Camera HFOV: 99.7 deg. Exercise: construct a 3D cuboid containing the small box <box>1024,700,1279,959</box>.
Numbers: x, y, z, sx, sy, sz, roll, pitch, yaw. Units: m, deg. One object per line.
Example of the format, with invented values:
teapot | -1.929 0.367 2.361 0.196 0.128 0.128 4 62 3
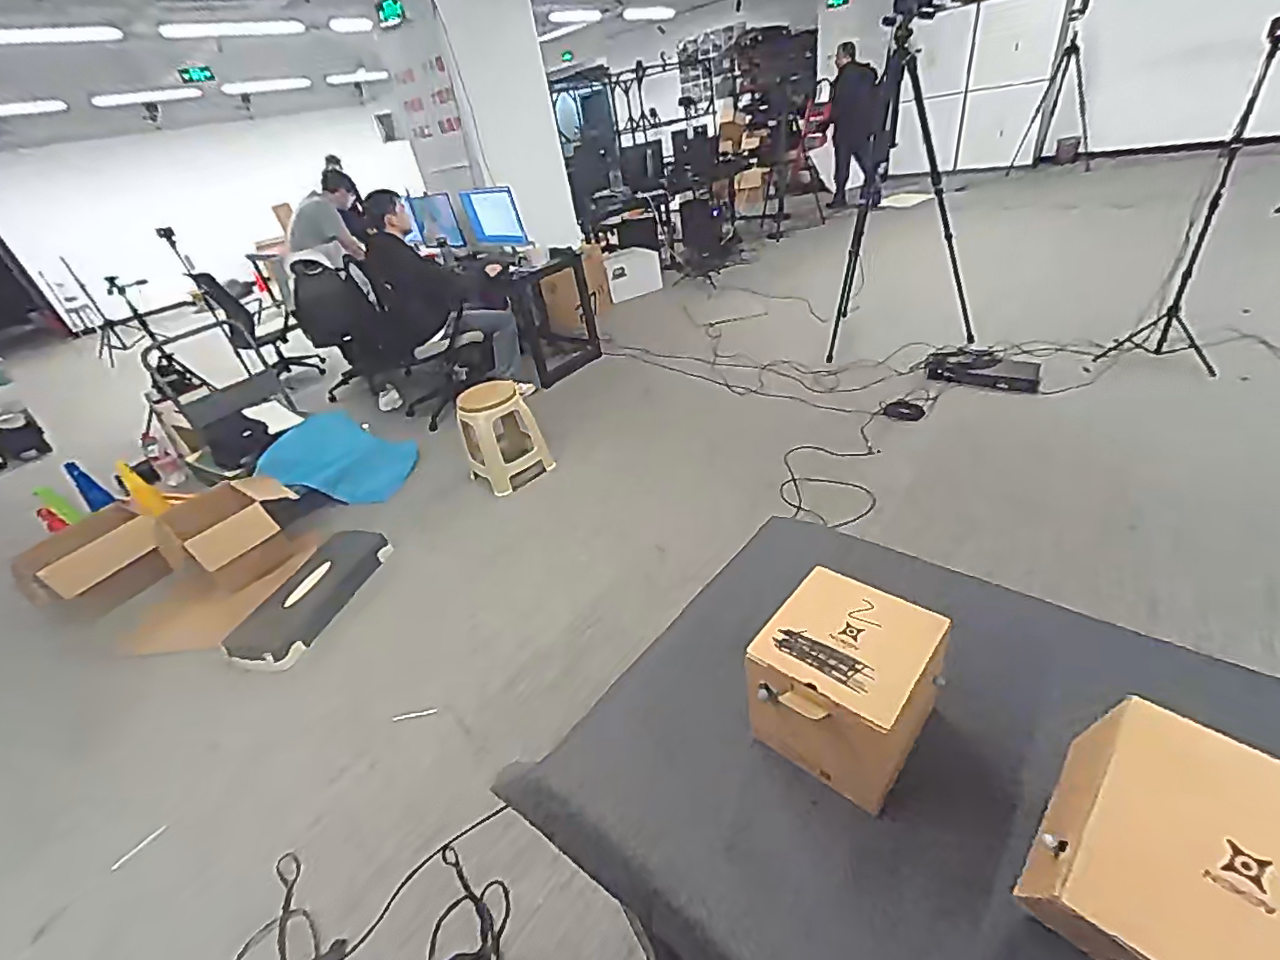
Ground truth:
small box | 0.438 0.316 0.430 0.168 0.176 0.179 24 67 36
